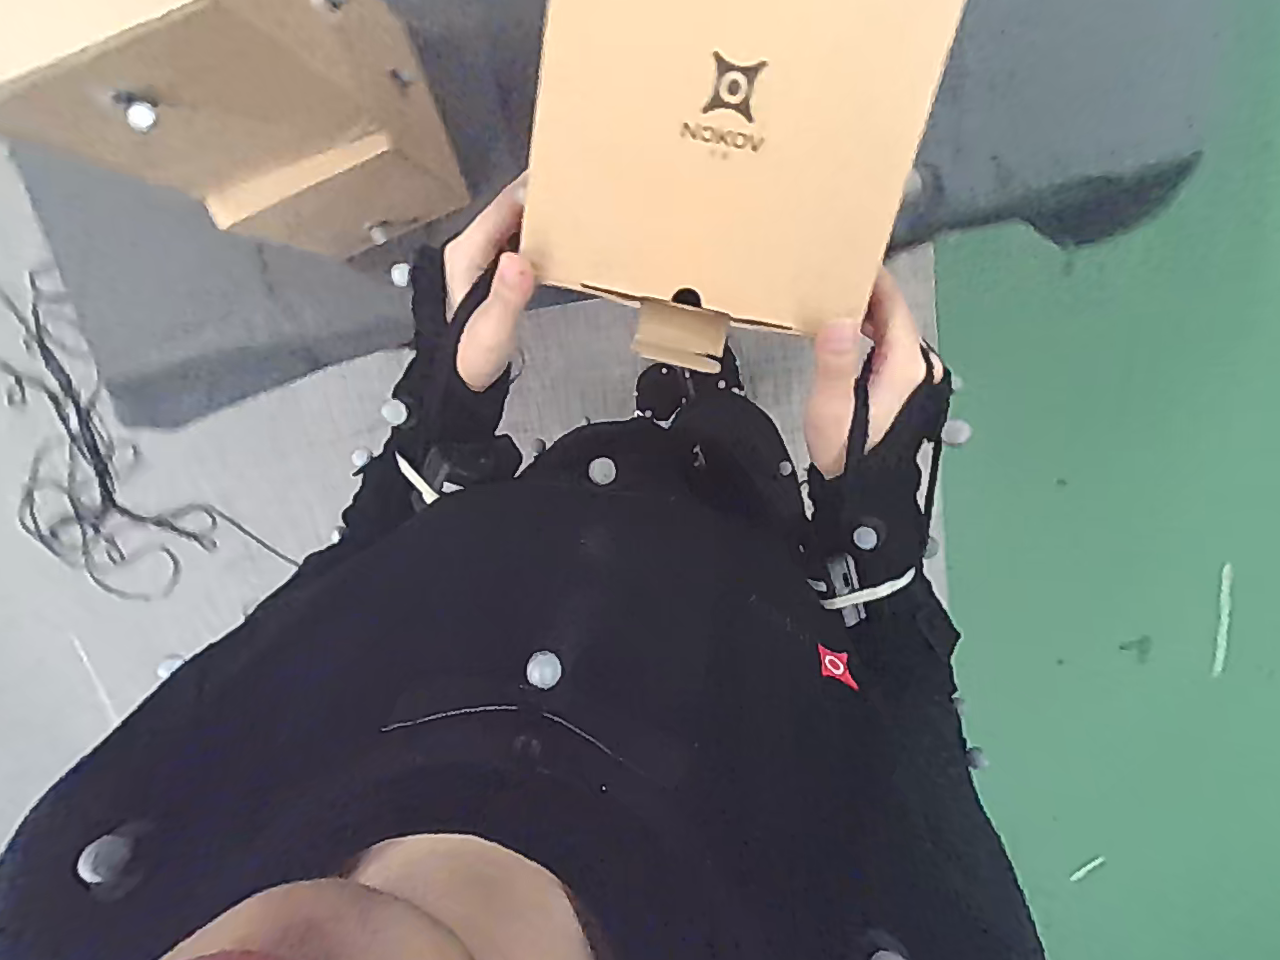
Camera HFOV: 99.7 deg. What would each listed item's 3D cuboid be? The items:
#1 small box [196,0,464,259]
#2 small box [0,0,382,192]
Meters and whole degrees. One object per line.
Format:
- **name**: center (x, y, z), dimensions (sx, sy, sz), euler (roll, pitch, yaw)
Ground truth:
- **small box**: center (-0.290, -0.324, 0.488), dimensions (0.168, 0.176, 0.179), euler (-19, 102, 8)
- **small box**: center (-0.300, -0.301, 0.327), dimensions (0.179, 0.176, 0.168), euler (-16, 104, 7)
